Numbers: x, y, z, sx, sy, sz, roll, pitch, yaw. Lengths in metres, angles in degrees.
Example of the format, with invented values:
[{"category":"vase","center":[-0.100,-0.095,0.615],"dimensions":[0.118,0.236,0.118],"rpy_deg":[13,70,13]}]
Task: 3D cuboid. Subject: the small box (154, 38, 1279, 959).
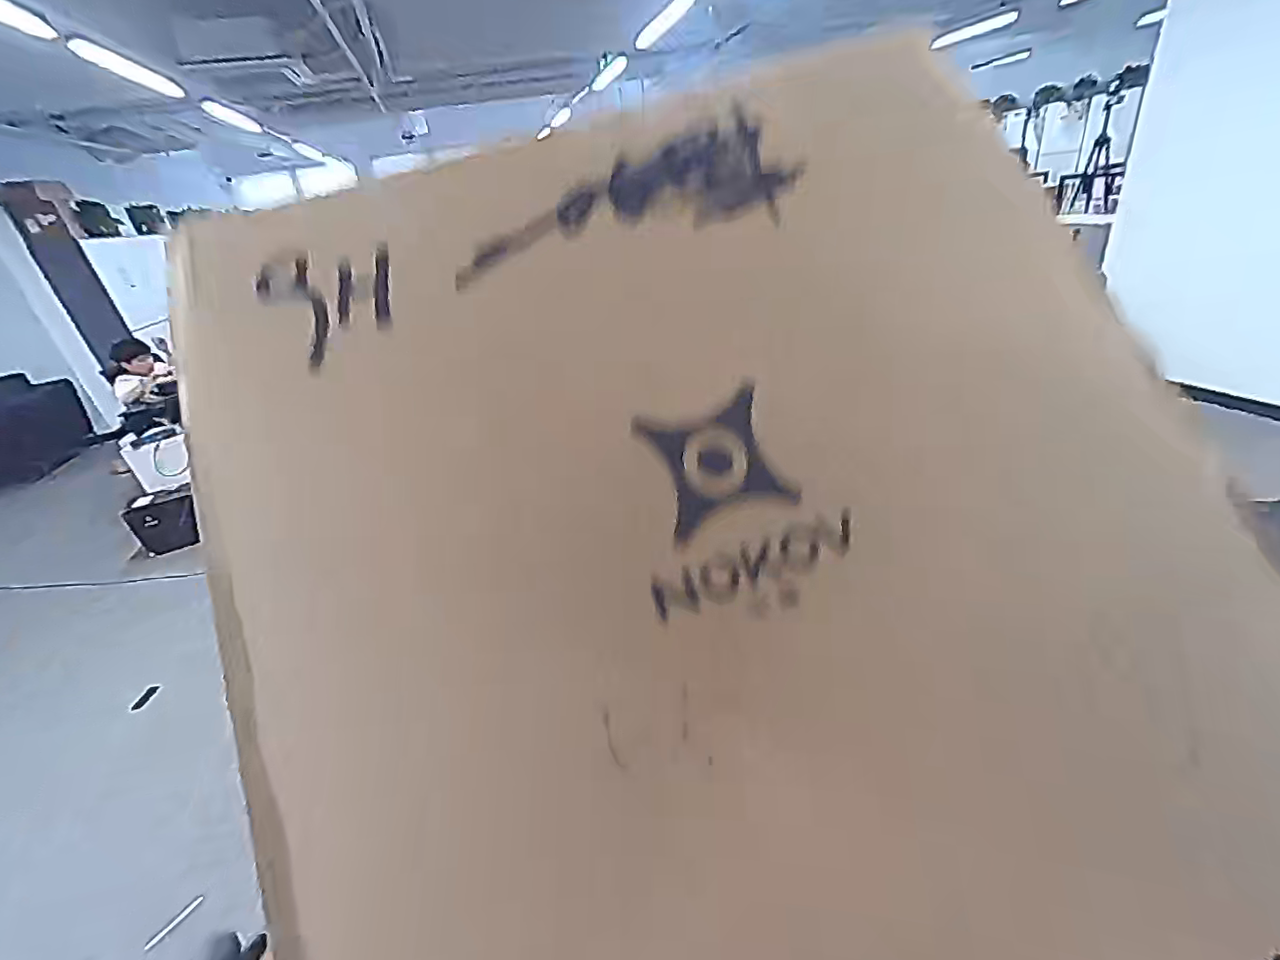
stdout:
[{"category":"small box","center":[0.015,0.031,0.166],"dimensions":[0.168,0.179,0.176],"rpy_deg":[-19,-13,-5]}]
